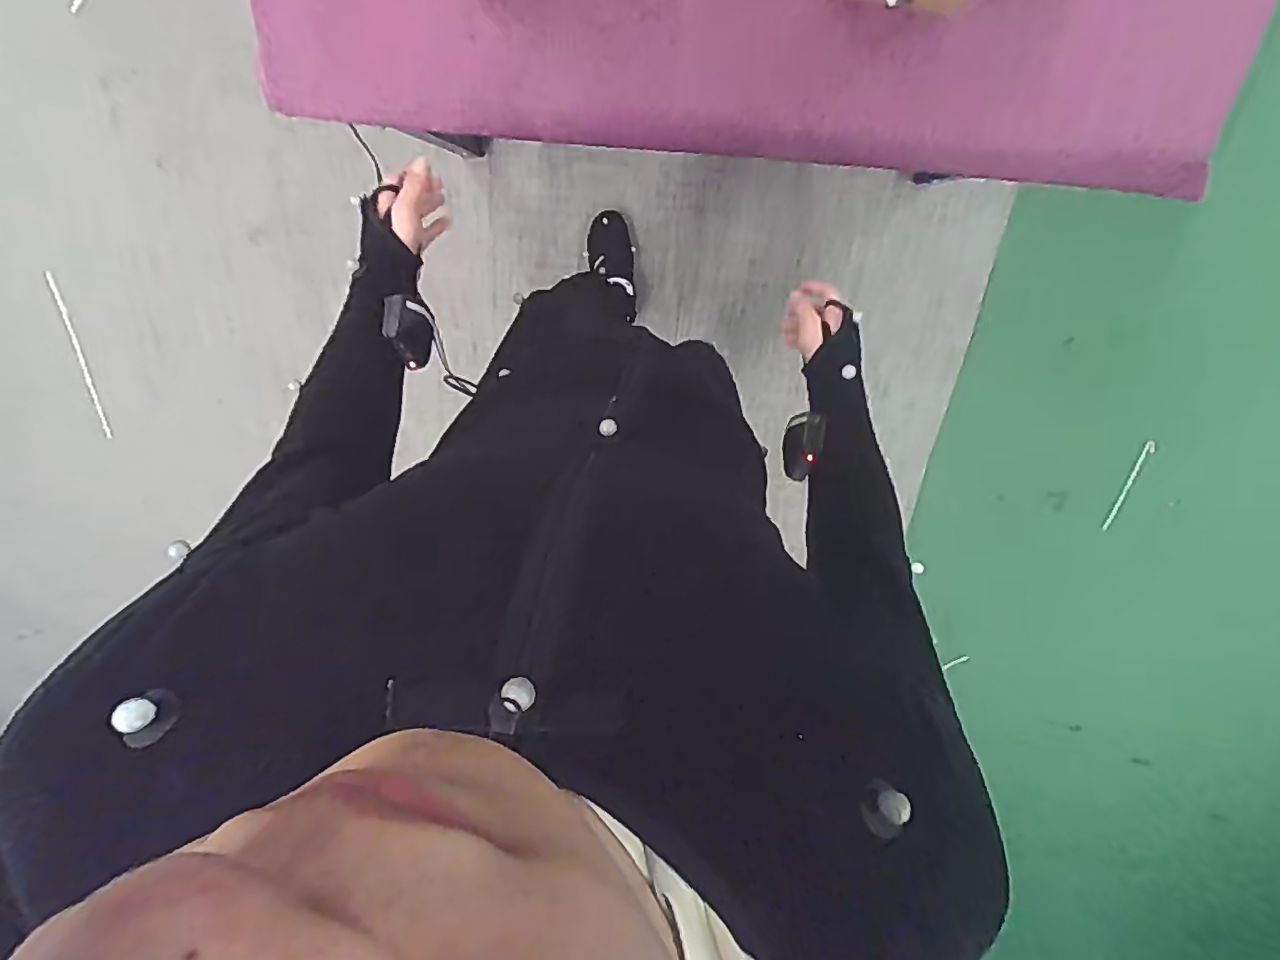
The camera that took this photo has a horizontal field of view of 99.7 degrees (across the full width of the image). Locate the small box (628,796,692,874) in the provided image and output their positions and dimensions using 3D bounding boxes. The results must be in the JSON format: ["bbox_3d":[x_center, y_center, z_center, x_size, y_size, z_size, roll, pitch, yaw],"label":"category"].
[{"bbox_3d":[0.062,1.179,1.786,0.179,0.176,0.168,12,115,-5],"label":"small box"}]

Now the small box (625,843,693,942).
[{"bbox_3d":[0.057,1.244,1.635,0.168,0.176,0.179,12,114,-5],"label":"small box"}]
